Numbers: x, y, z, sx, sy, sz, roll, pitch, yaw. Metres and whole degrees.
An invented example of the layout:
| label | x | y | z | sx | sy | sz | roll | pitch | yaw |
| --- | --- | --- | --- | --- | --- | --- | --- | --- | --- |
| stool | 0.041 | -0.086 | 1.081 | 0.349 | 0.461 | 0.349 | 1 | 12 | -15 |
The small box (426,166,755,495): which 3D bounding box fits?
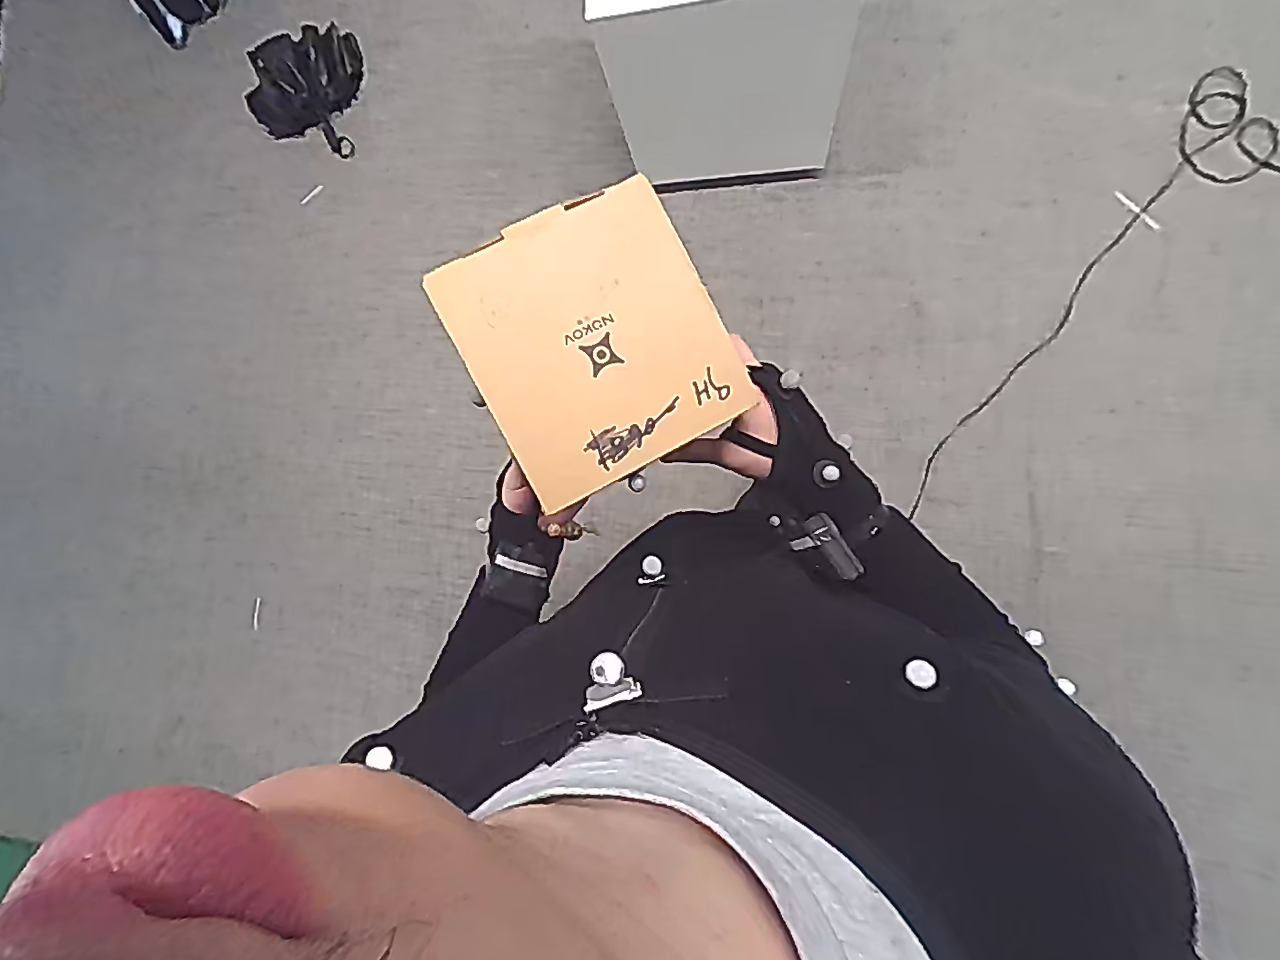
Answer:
| label | x | y | z | sx | sy | sz | roll | pitch | yaw |
| --- | --- | --- | --- | --- | --- | --- | --- | --- | --- |
| small box | -0.040 | -0.099 | 0.438 | 0.168 | 0.176 | 0.179 | -28 | 93 | -6 |
